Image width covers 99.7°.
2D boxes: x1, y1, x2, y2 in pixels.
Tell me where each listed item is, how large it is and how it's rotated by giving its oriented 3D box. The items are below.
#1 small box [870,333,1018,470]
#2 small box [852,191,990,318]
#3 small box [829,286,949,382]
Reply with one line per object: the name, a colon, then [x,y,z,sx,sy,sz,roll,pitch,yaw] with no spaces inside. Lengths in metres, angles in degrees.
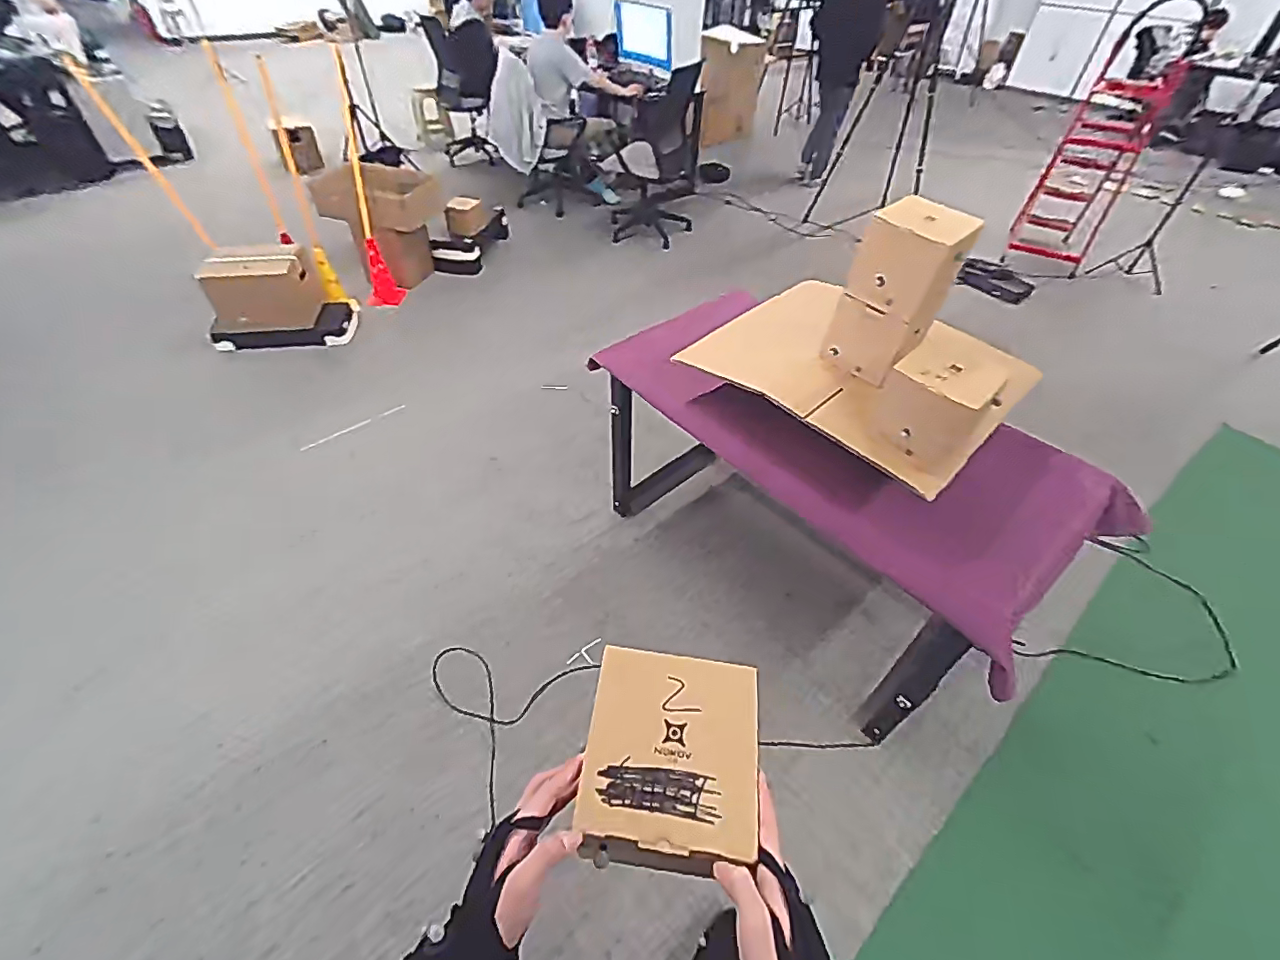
small box: [0.588,-0.155,1.067,0.179,0.176,0.168,-34,58,-28]
small box: [0.572,-0.465,1.122,0.179,0.176,0.168,-36,61,-29]
small box: [0.558,-0.354,1.239,0.179,0.176,0.168,-34,60,-30]
